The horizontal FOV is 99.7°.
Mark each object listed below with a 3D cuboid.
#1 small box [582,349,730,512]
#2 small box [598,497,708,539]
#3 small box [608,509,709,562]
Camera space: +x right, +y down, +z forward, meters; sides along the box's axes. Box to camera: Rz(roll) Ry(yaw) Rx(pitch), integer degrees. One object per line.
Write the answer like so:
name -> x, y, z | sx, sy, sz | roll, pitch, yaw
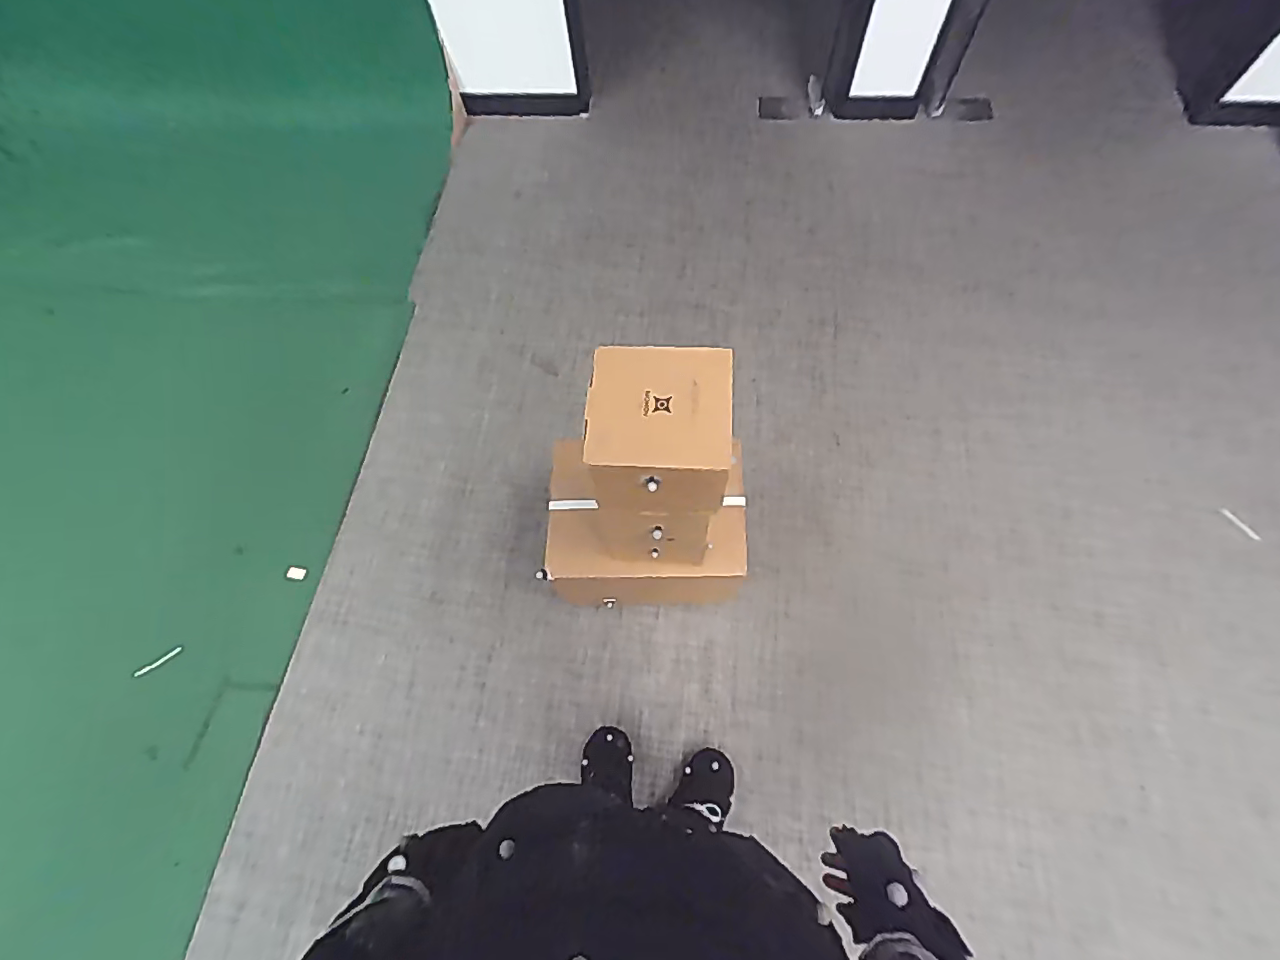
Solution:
small box -> 0.027, -0.060, 0.736 | 0.179, 0.176, 0.168 | 2, 69, 4
small box -> 0.030, -0.006, 0.890 | 0.168, 0.176, 0.179 | 1, 68, 4
small box -> 0.041, 0.057, 1.040 | 0.179, 0.176, 0.168 | 3, 68, 6
